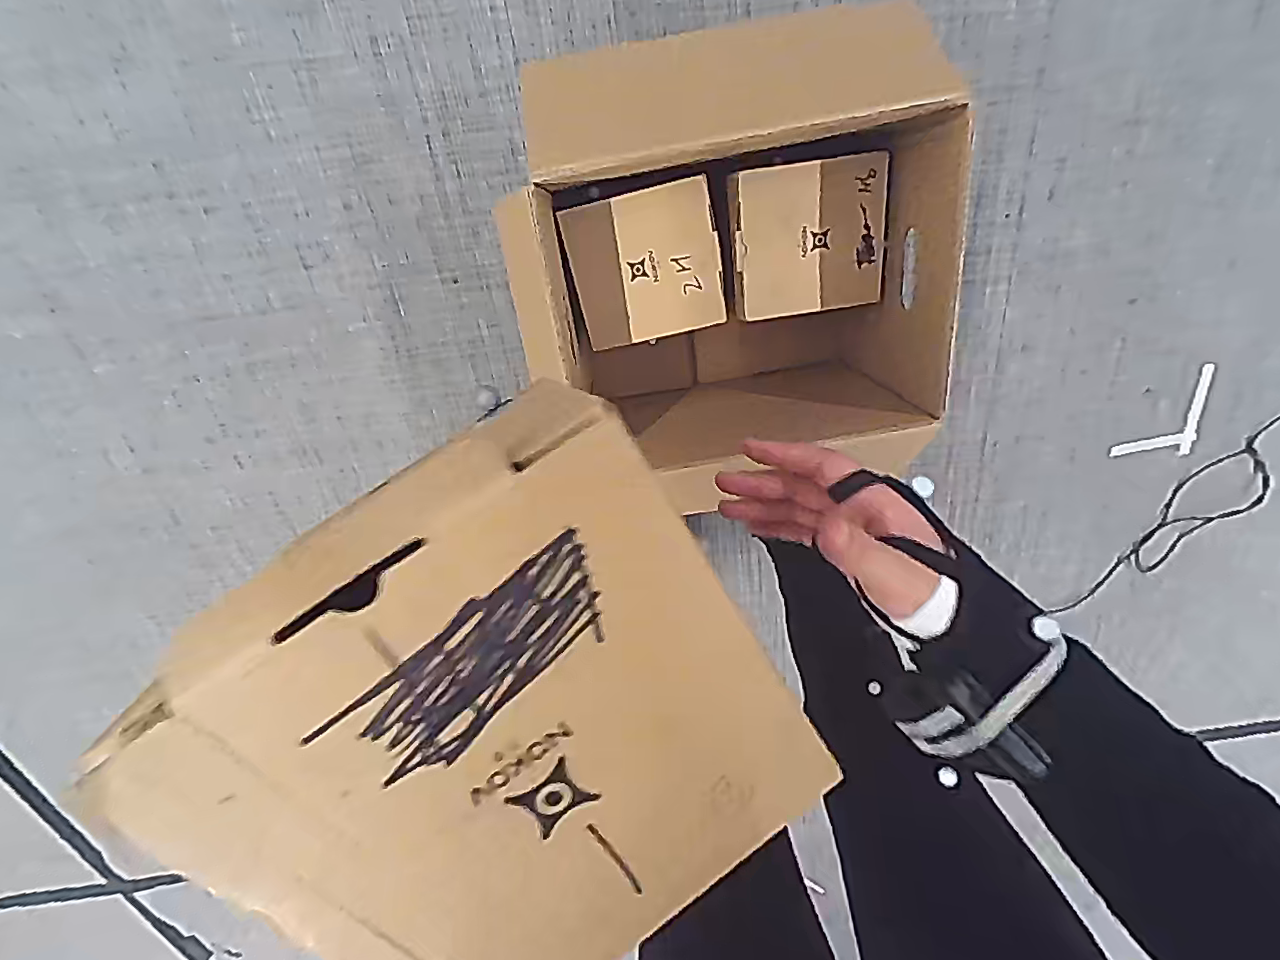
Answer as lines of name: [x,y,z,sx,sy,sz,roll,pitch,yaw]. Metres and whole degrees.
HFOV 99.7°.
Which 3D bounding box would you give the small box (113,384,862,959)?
small box: [-0.045,0.070,0.244,0.168,0.176,0.179,-34,111,-6]
